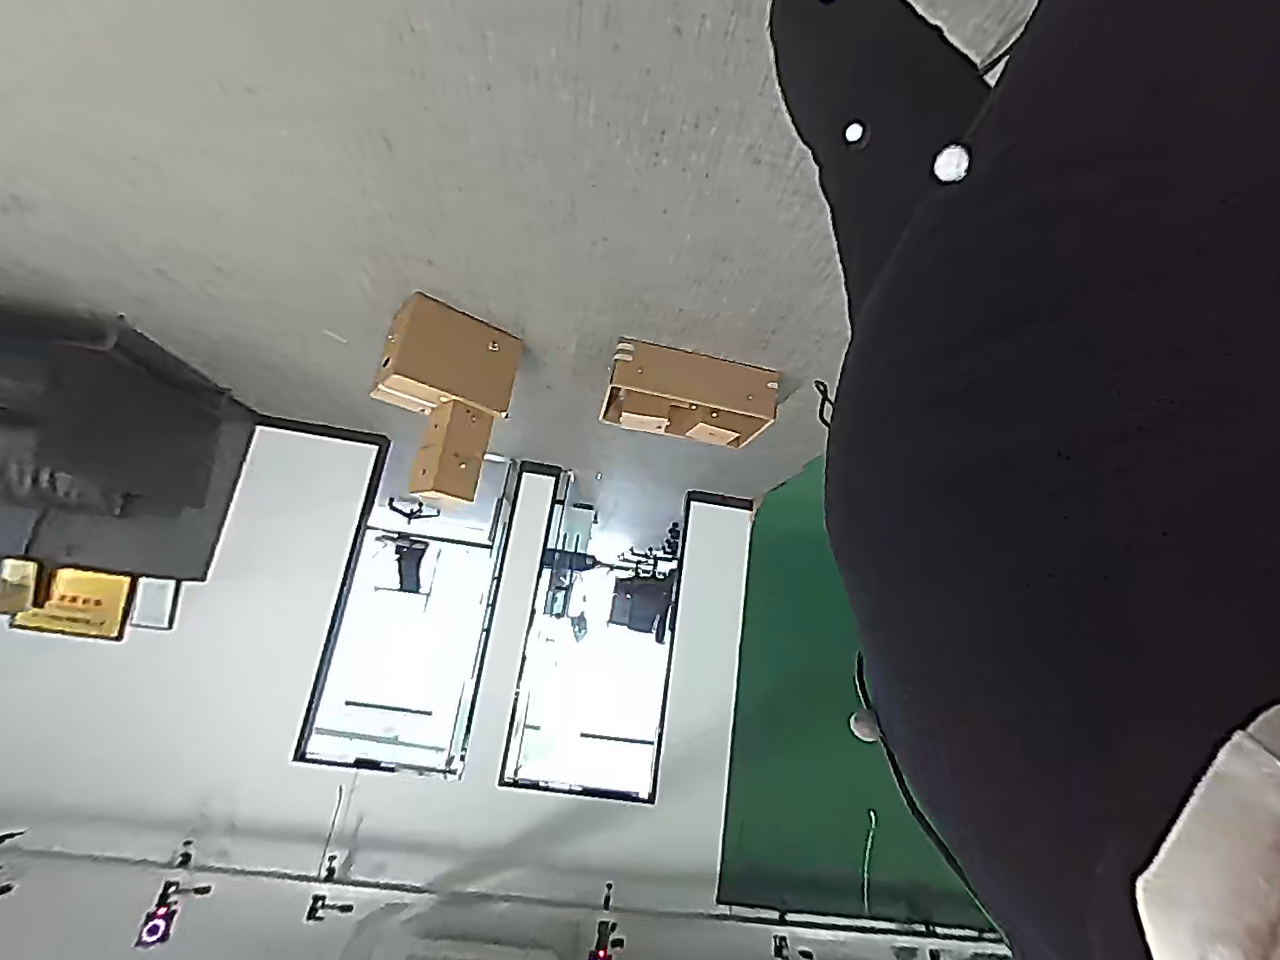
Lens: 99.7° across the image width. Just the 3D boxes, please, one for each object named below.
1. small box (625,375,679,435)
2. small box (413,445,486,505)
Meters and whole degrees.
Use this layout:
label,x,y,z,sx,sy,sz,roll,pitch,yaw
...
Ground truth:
label,x,y,z,sx,sy,sz,roll,pitch,yaw
small box,0.046,-0.294,2.110,0.179,0.176,0.168,9,165,-2
small box,-0.674,-0.016,1.926,0.179,0.176,0.168,-6,159,41
